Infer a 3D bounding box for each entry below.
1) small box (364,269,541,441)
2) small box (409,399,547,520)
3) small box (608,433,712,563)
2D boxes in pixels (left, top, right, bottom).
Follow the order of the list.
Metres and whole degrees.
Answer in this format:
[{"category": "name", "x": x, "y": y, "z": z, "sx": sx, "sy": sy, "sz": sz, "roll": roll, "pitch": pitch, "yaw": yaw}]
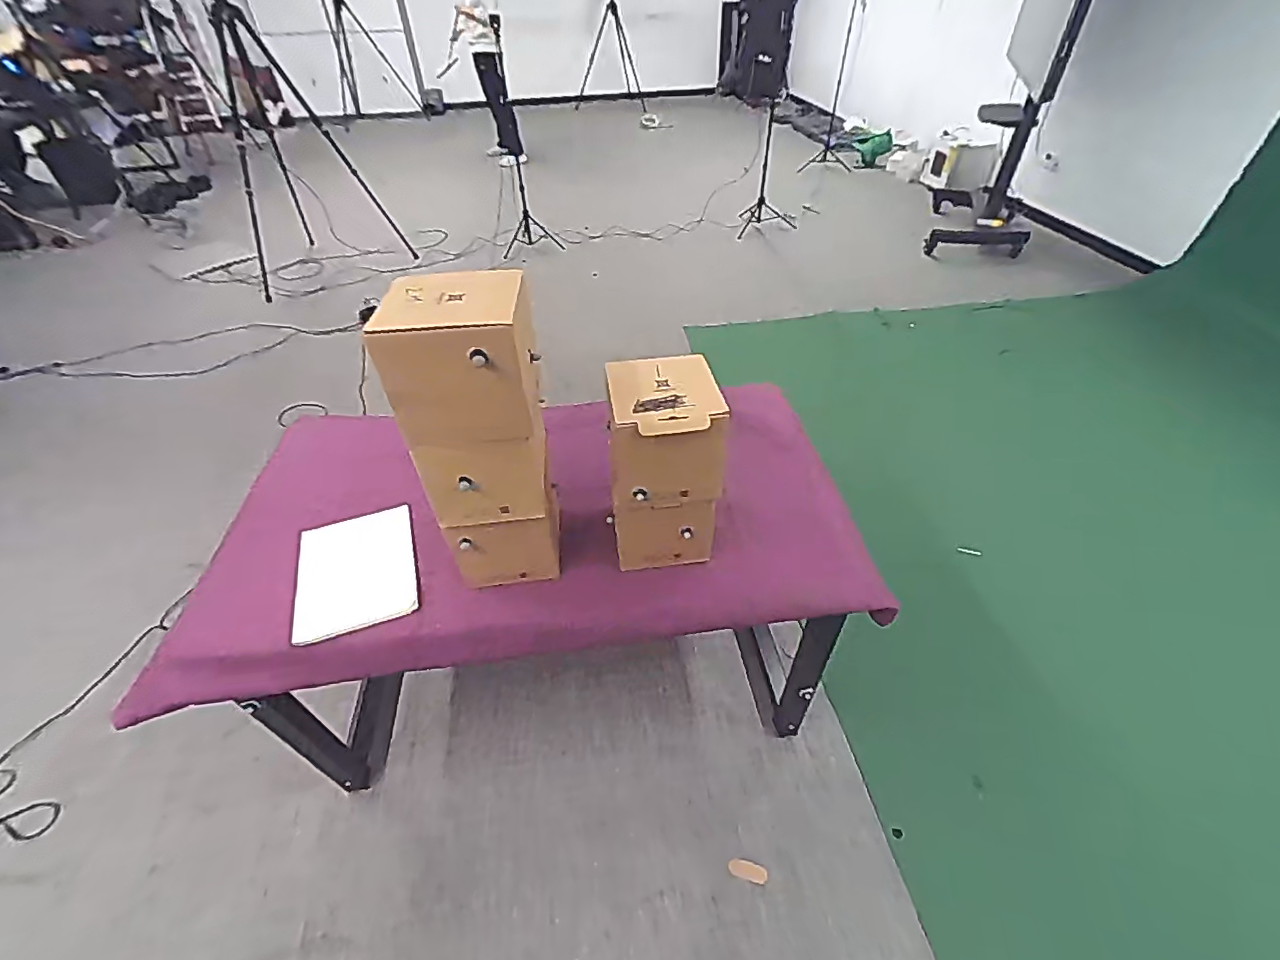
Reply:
[{"category": "small box", "x": -0.235, "y": -0.168, "z": 0.735, "sx": 0.179, "sy": 0.176, "sz": 0.168, "roll": -4, "pitch": 42, "yaw": -2}, {"category": "small box", "x": -0.240, "y": -0.051, "z": 0.851, "sx": 0.168, "sy": 0.176, "sz": 0.179, "roll": -6, "pitch": 42, "yaw": -4}, {"category": "small box", "x": 0.032, "y": 0.038, "z": 0.988, "sx": 0.168, "sy": 0.176, "sz": 0.179, "roll": -5, "pitch": 42, "yaw": -4}]
